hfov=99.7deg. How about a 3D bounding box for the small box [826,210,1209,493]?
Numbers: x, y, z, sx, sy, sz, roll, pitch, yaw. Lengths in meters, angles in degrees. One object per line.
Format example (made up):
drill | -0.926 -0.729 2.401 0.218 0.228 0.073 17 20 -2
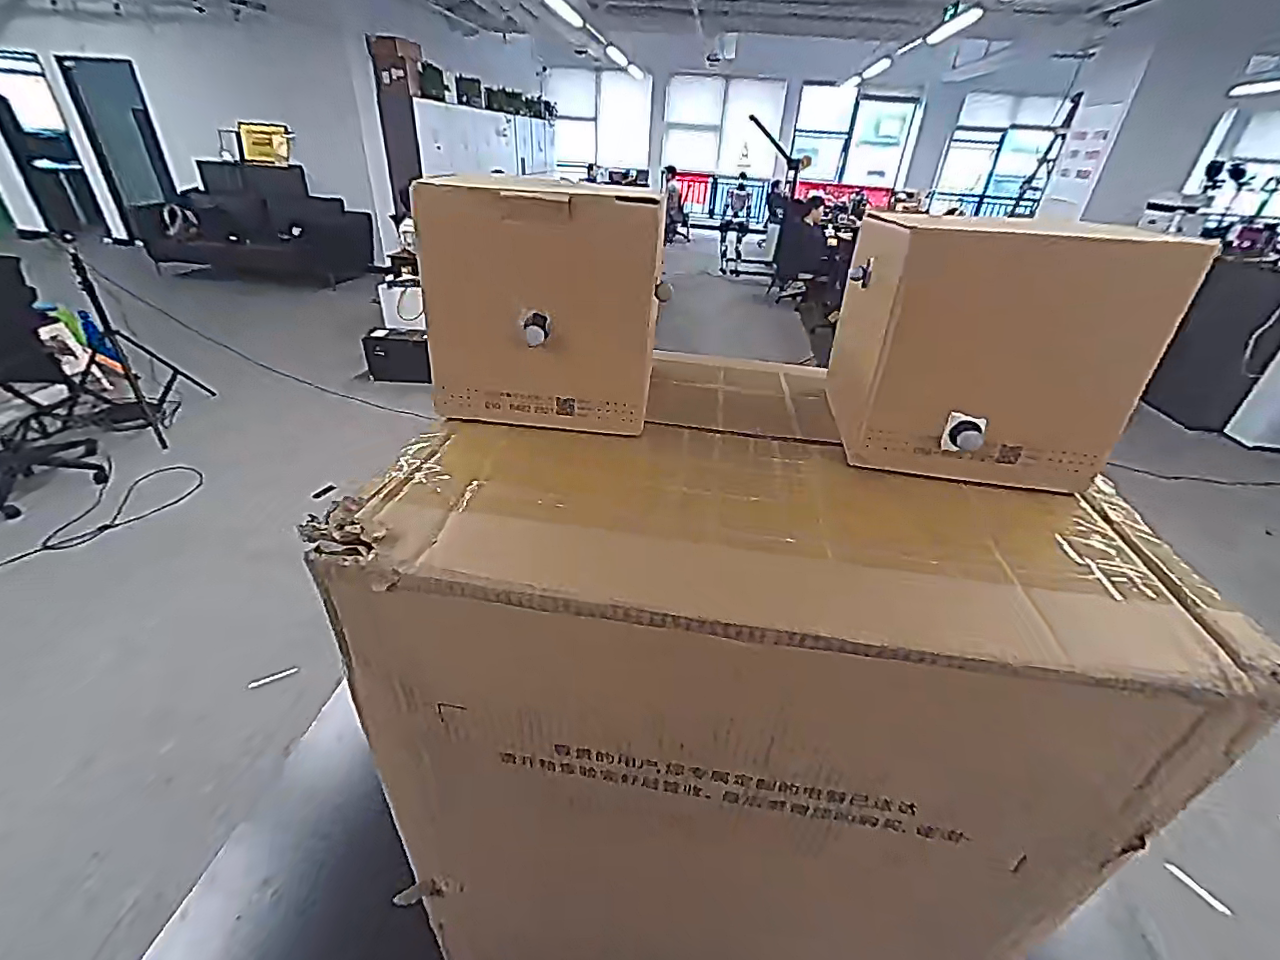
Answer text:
small box | 0.251 -0.110 0.424 0.168 0.176 0.179 5 31 8

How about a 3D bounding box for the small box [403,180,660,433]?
small box | -0.072 -0.151 0.459 0.168 0.176 0.179 5 31 1
